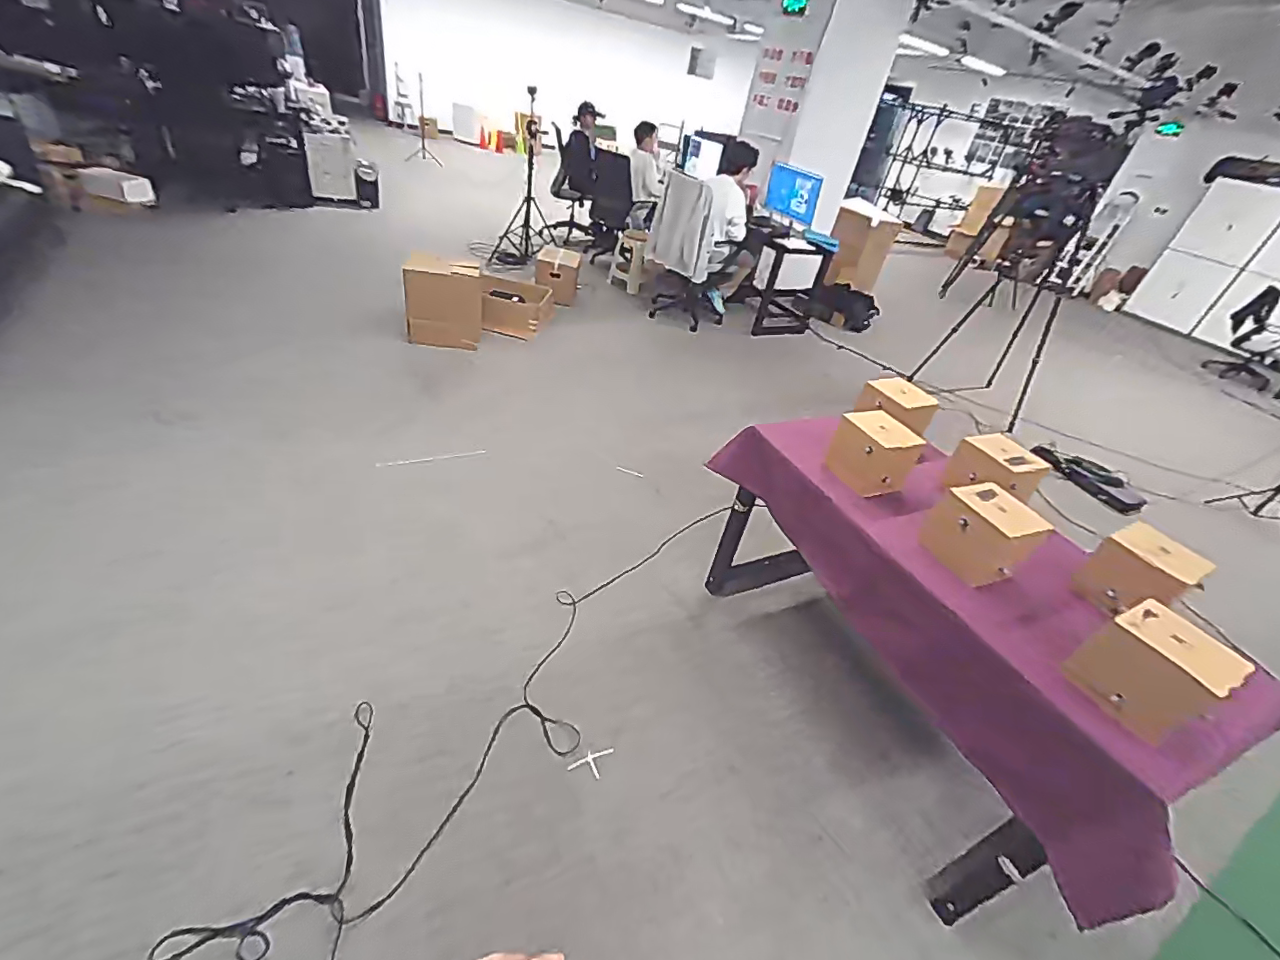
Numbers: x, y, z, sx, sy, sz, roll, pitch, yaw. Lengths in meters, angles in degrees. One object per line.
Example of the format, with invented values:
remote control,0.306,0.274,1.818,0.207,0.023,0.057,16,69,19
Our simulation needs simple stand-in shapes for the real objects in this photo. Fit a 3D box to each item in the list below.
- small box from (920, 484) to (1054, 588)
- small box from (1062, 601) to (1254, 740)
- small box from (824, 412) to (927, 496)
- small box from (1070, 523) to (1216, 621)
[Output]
small box,0.825,0.132,1.306,0.168,0.176,0.179,-6,41,-24
small box,0.975,0.366,1.032,0.168,0.176,0.179,-9,41,-28
small box,0.659,-0.075,1.539,0.168,0.176,0.179,-7,41,-26
small box,1.176,0.229,1.278,0.179,0.176,0.168,-11,41,-28
